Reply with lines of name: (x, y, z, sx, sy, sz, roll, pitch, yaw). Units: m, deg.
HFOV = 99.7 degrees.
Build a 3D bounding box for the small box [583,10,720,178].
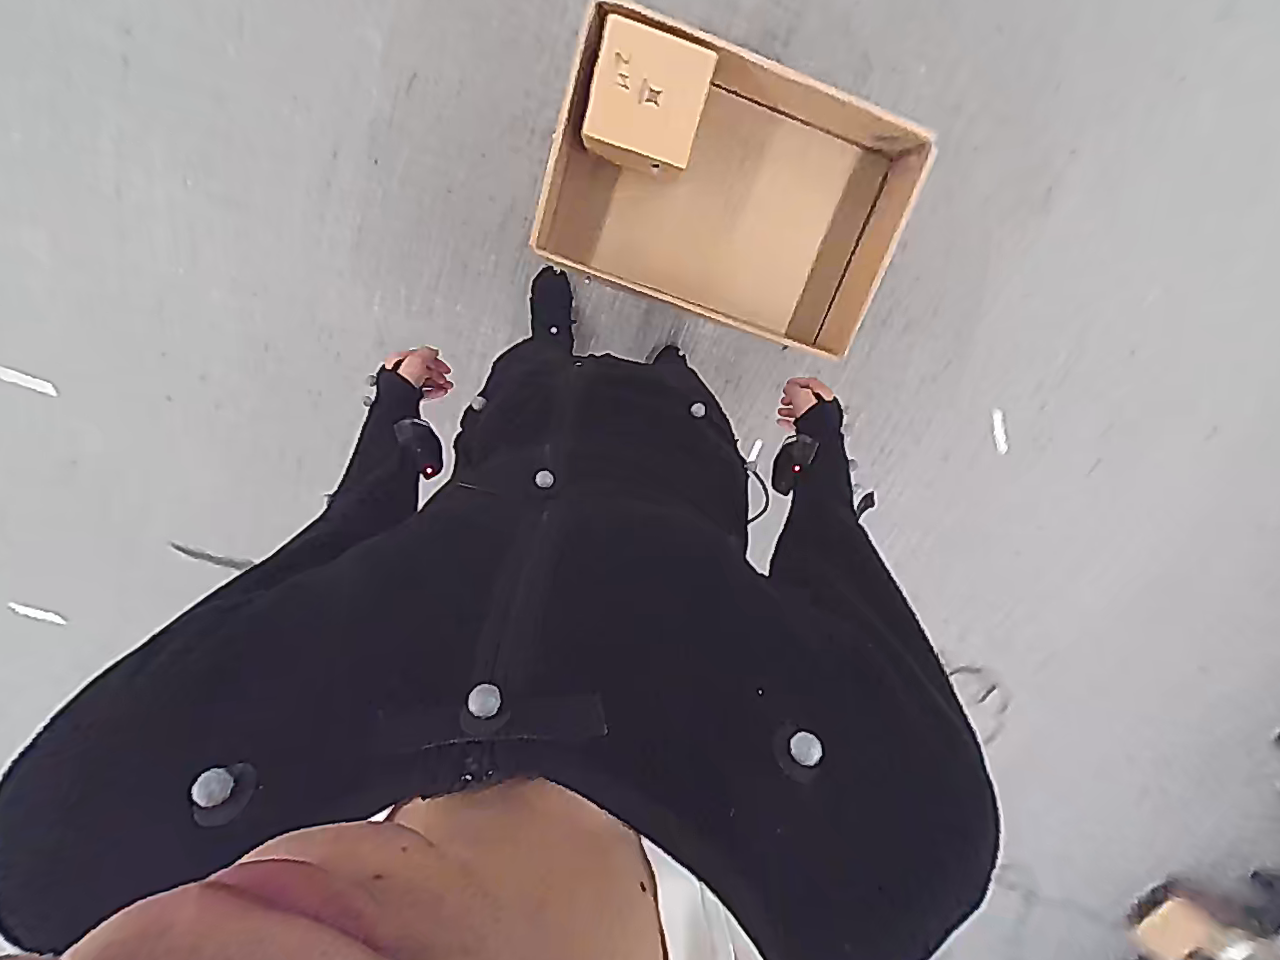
small box: (0.013, -0.630, 0.911, 0.179, 0.176, 0.168, 15, 109, -8)
